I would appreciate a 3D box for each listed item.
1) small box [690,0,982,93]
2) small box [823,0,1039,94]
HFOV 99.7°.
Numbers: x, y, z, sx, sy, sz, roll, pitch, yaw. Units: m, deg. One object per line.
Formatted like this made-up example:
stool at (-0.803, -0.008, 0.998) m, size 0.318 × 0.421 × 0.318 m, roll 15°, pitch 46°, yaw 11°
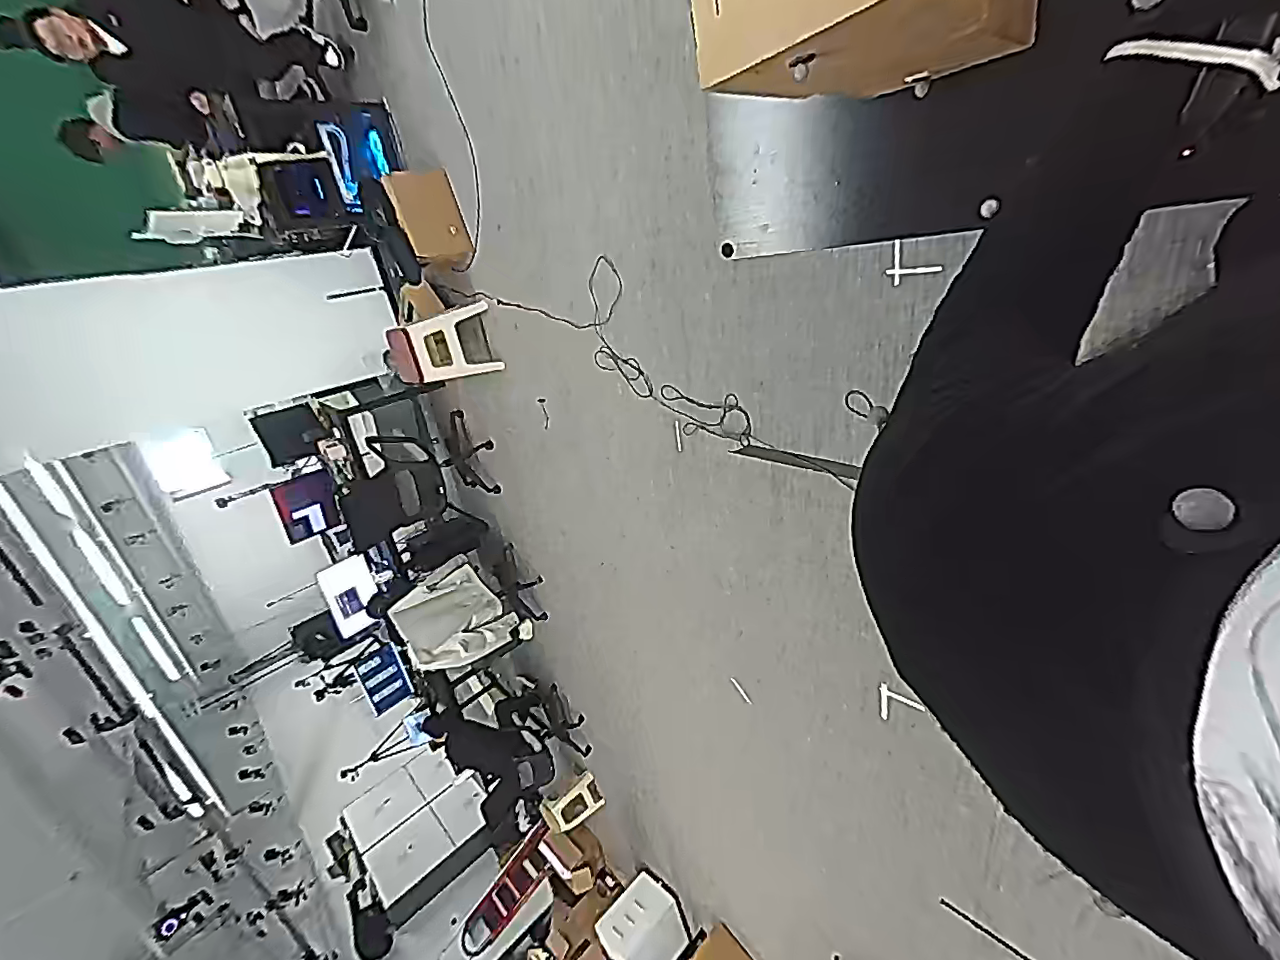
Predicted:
small box at (0.154, -0.437, 0.436) m, size 0.179 × 0.176 × 0.168 m, roll 12°, pitch 121°, yaw 47°
small box at (0.274, -0.504, 0.527) m, size 0.168 × 0.176 × 0.179 m, roll 15°, pitch 124°, yaw 47°
